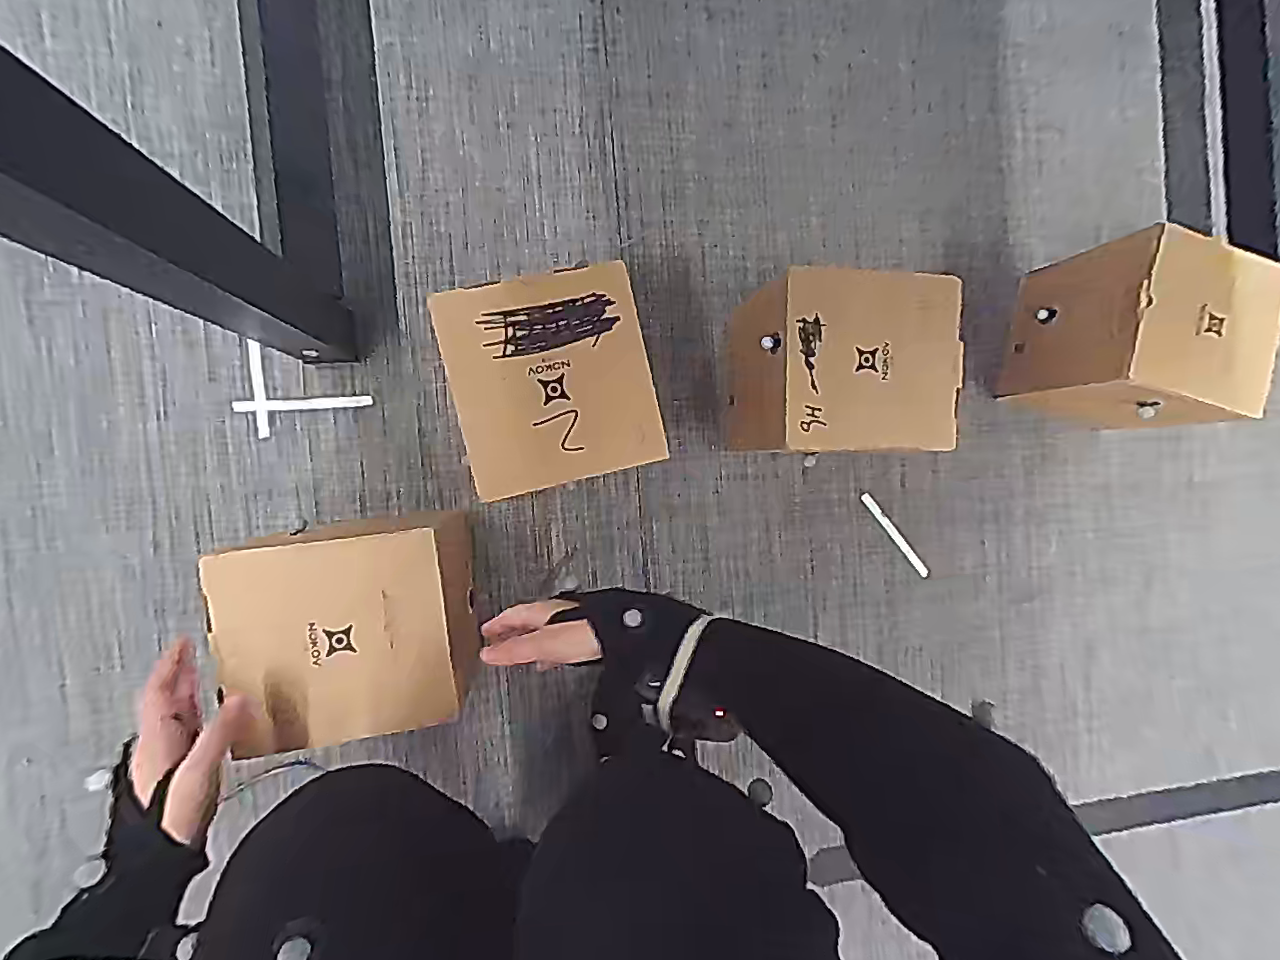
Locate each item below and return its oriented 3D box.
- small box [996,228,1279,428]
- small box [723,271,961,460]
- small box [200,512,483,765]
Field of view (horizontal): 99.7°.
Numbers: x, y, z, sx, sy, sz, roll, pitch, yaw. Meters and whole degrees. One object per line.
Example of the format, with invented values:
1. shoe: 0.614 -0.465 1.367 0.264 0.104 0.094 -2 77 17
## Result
1. small box: 0.572 -0.159 0.634 0.179 0.176 0.168 13 90 -9
2. small box: 0.200 -0.106 0.573 0.179 0.176 0.168 0 92 -10
3. small box: -0.254 0.127 0.506 0.179 0.176 0.168 -8 95 -10
